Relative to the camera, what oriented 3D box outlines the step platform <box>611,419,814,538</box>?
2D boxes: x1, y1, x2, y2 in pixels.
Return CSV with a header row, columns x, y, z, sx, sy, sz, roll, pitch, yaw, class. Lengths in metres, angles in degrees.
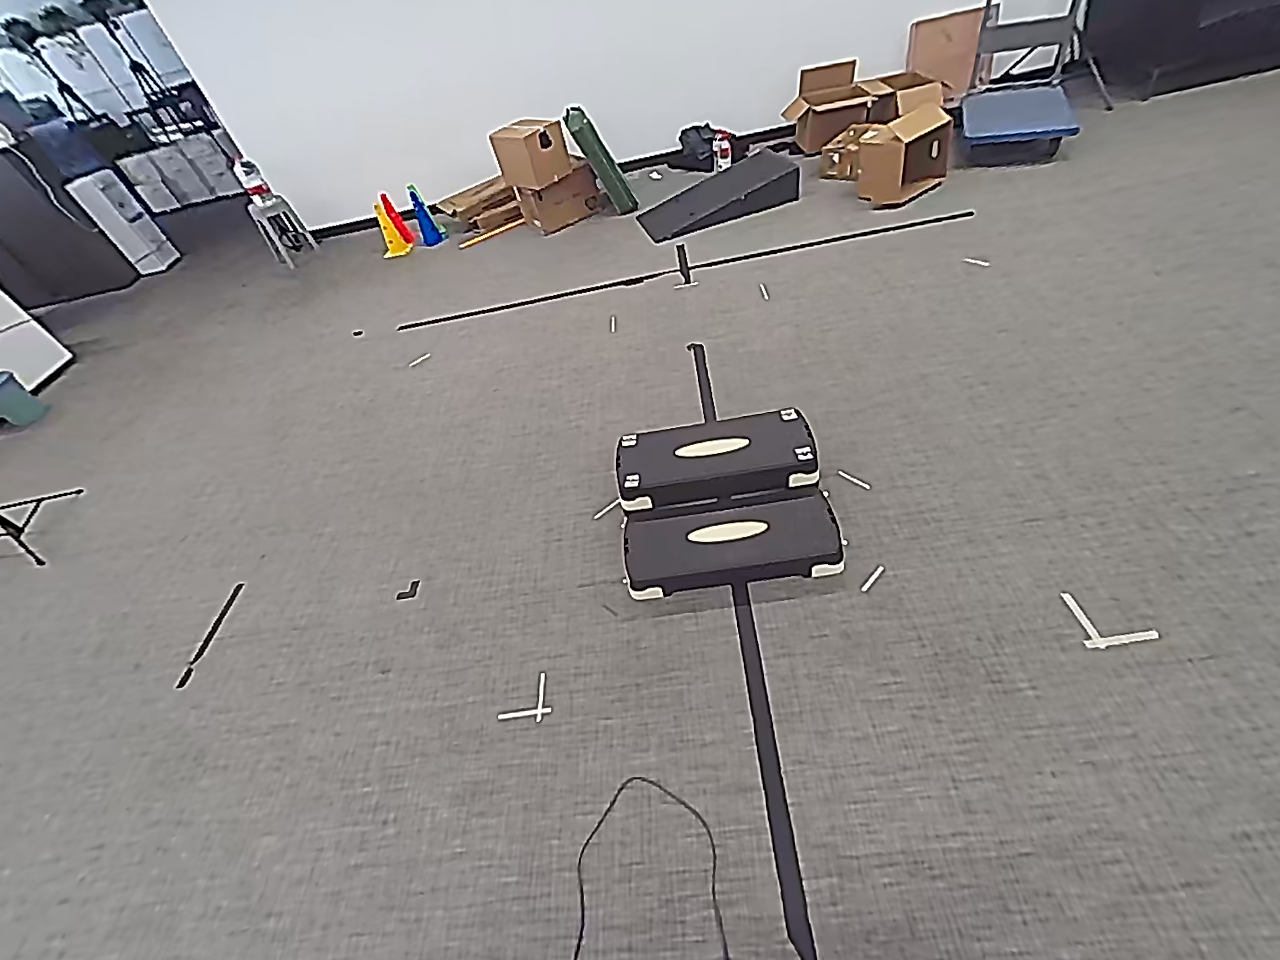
x,y,z,sx,sy,sz,roll,pitch,yaw,class
0.240,-0.009,1.875,0.684,0.204,0.286,-9,46,5,step platform
